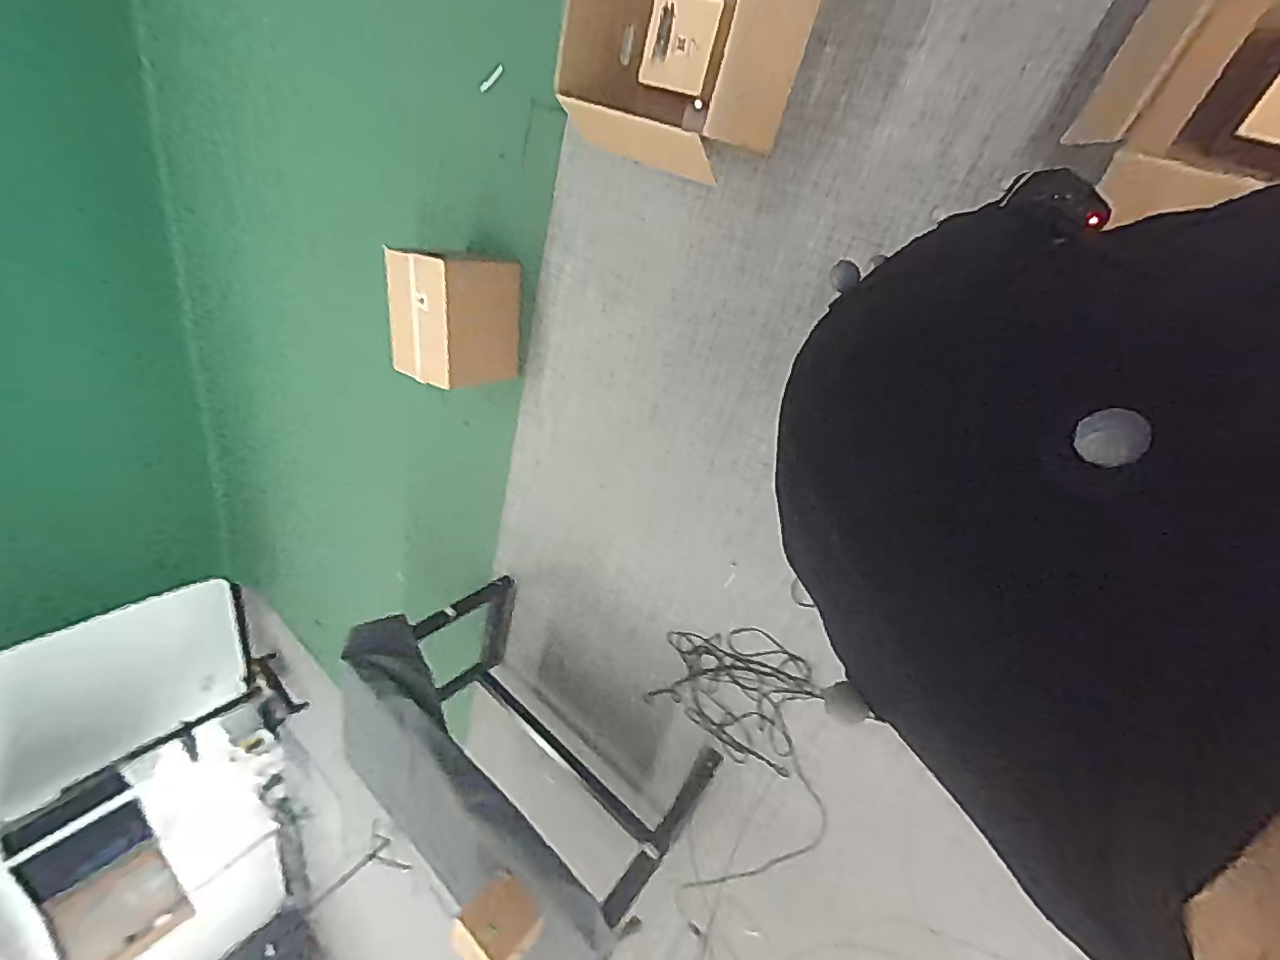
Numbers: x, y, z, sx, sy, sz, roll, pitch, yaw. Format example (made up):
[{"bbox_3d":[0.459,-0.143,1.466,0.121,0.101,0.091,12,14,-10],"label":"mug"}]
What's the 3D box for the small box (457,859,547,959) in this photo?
[{"bbox_3d":[-0.383,1.221,1.511,0.179,0.176,0.168,32,123,26],"label":"small box"}]
